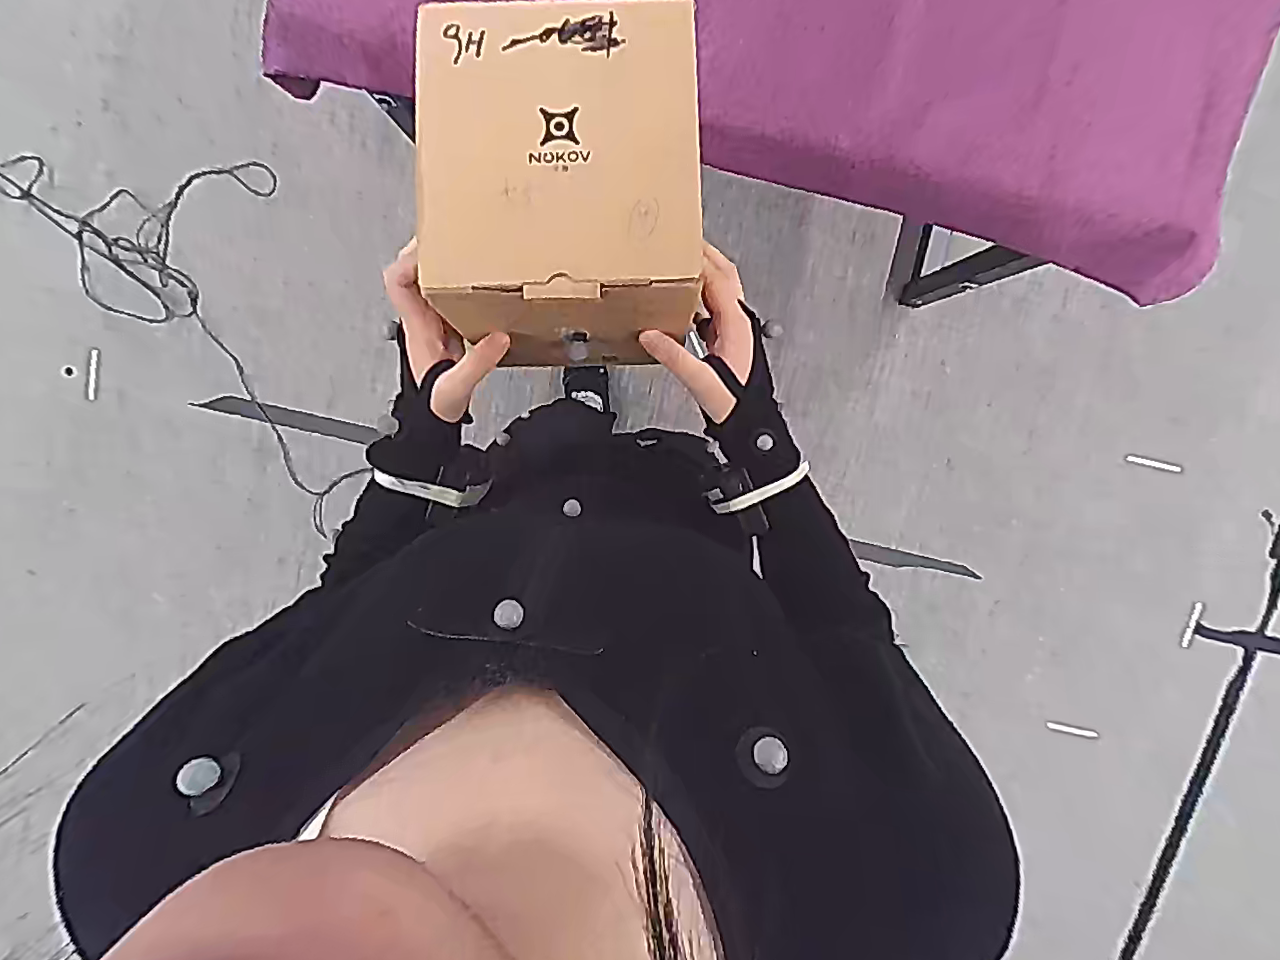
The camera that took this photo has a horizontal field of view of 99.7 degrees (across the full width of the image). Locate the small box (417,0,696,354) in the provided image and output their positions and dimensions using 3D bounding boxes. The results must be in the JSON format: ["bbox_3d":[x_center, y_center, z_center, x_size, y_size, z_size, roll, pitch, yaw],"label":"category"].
[{"bbox_3d":[-0.048,-0.196,0.397,0.168,0.176,0.179,-1,87,0],"label":"small box"}]
